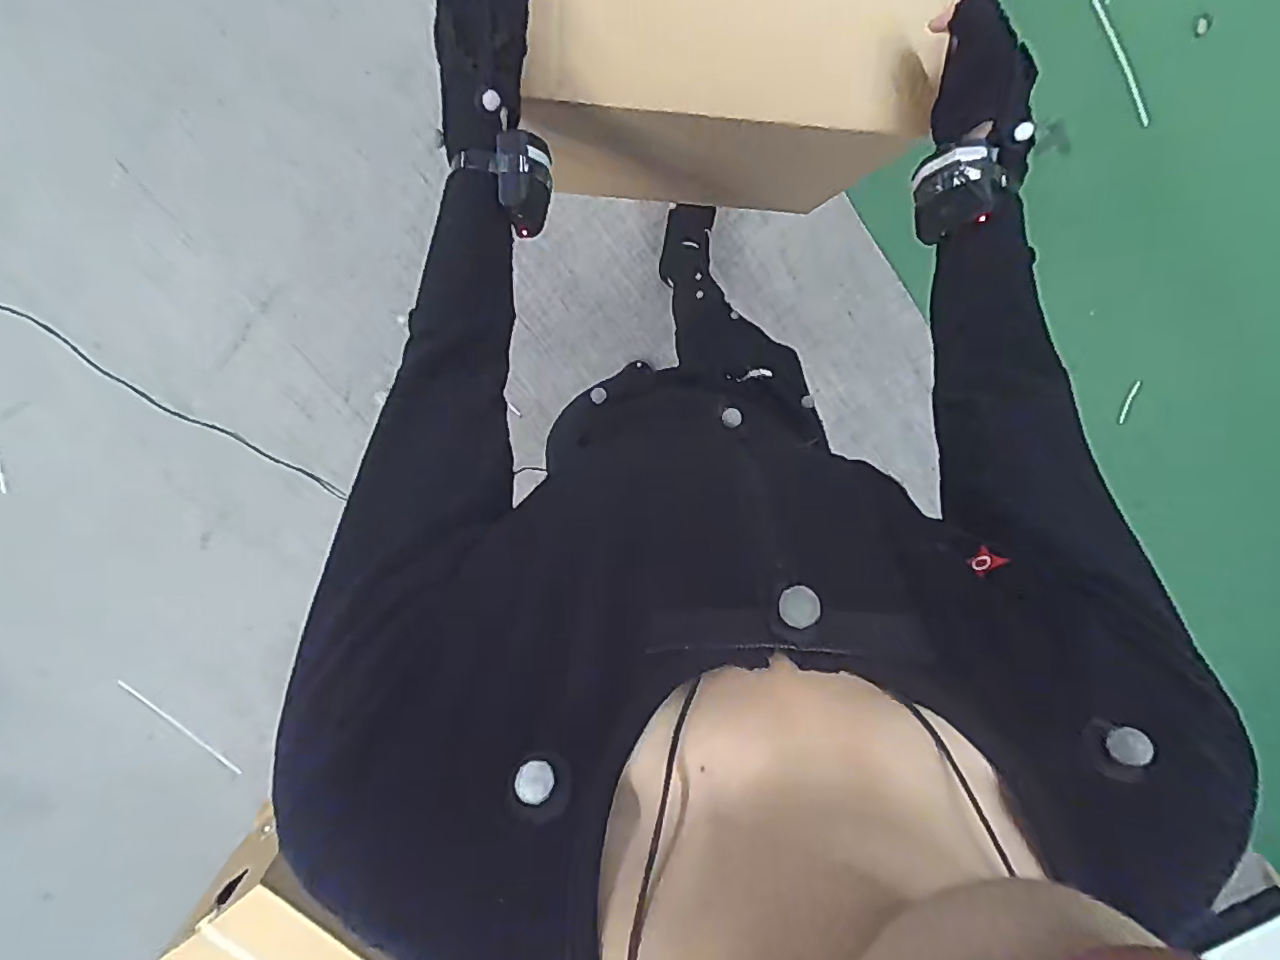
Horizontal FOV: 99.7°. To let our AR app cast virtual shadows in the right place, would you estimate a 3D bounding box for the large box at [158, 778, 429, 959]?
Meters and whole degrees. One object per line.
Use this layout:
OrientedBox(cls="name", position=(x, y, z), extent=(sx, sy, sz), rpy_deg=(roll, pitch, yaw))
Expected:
OrientedBox(cls="large box", position=(-0.806, 1.041, 1.322), extent=(0.320, 0.320, 0.408), rpy_deg=(-38, 104, 5))
